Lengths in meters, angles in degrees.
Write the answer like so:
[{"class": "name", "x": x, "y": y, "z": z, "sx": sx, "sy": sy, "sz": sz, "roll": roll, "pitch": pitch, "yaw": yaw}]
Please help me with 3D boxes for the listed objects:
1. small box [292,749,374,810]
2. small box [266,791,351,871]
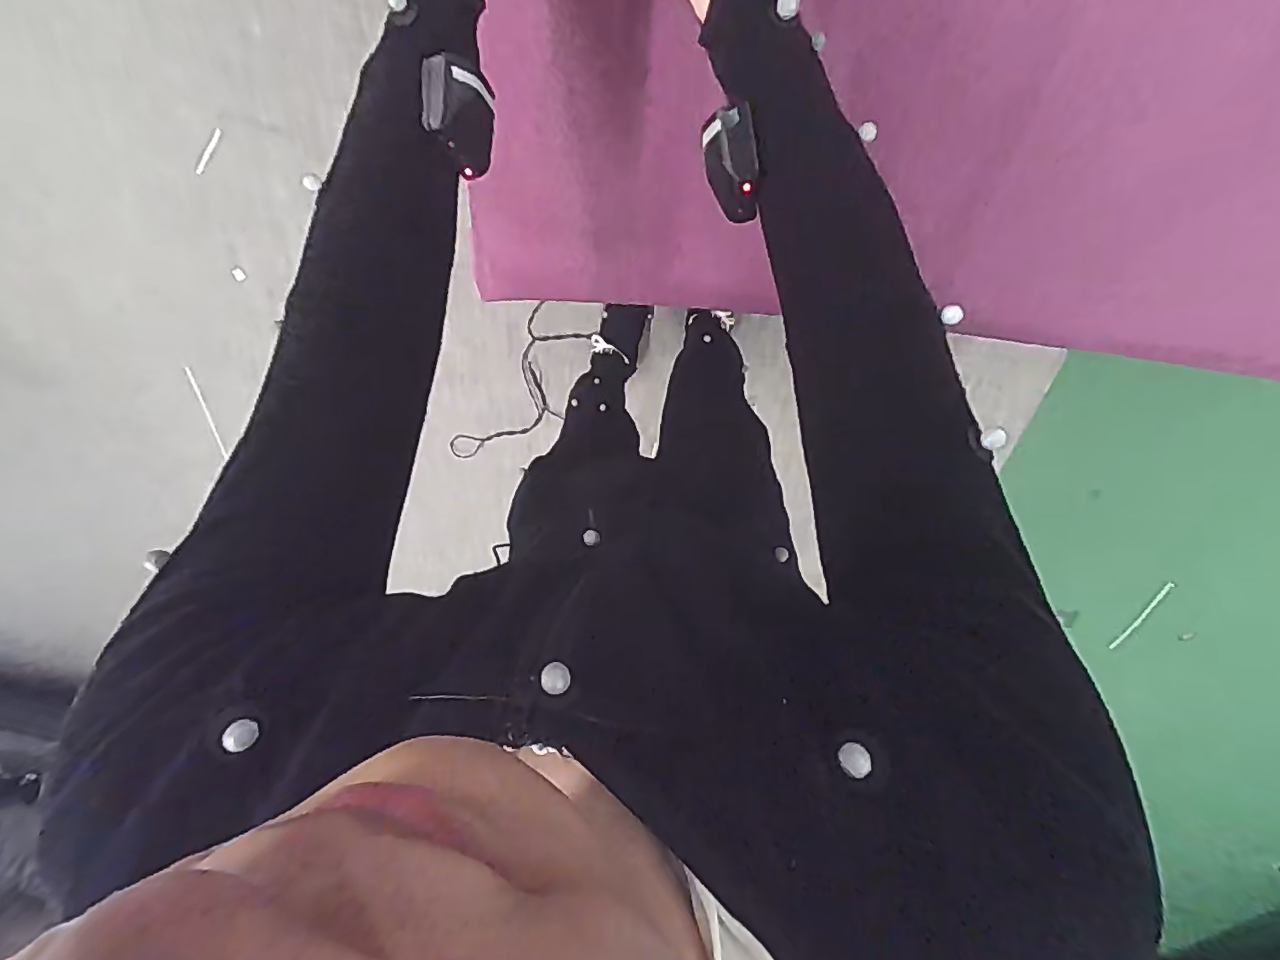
[{"class": "small box", "x": -1.145, "y": 1.136, "z": 2.026, "sx": 0.179, "sy": 0.176, "sz": 0.168, "roll": 38, "pitch": 121, "yaw": -18}, {"class": "small box", "x": -1.149, "y": 1.223, "z": 1.886, "sx": 0.168, "sy": 0.176, "sz": 0.179, "roll": 39, "pitch": 121, "yaw": -19}]
